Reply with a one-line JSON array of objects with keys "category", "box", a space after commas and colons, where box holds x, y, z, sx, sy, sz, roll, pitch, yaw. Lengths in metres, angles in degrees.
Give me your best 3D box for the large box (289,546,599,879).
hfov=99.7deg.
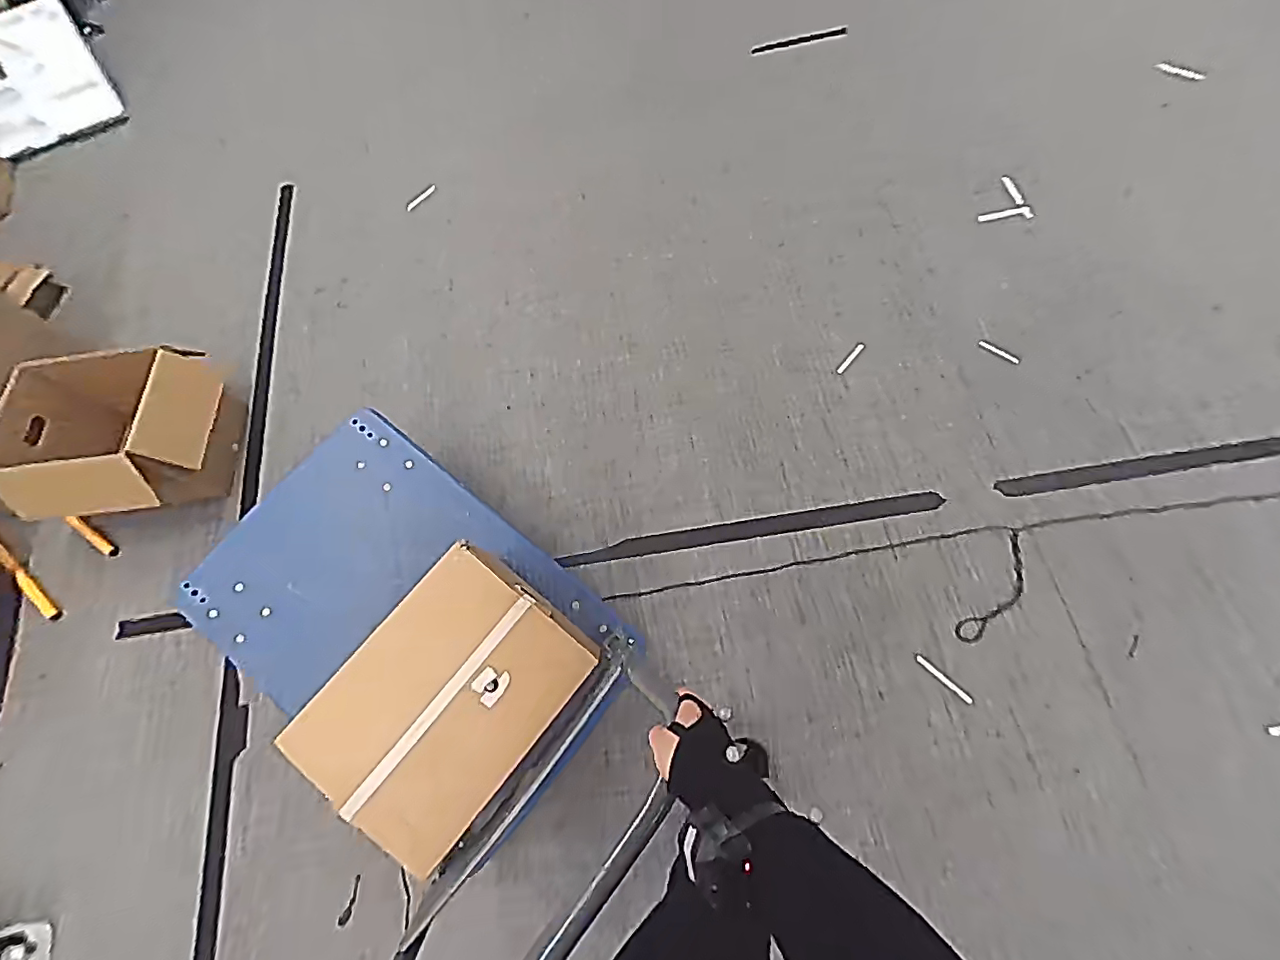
[{"category": "large box", "box": [-0.316, 0.391, 1.003, 0.320, 0.320, 0.408, 38, 76, 5]}]
